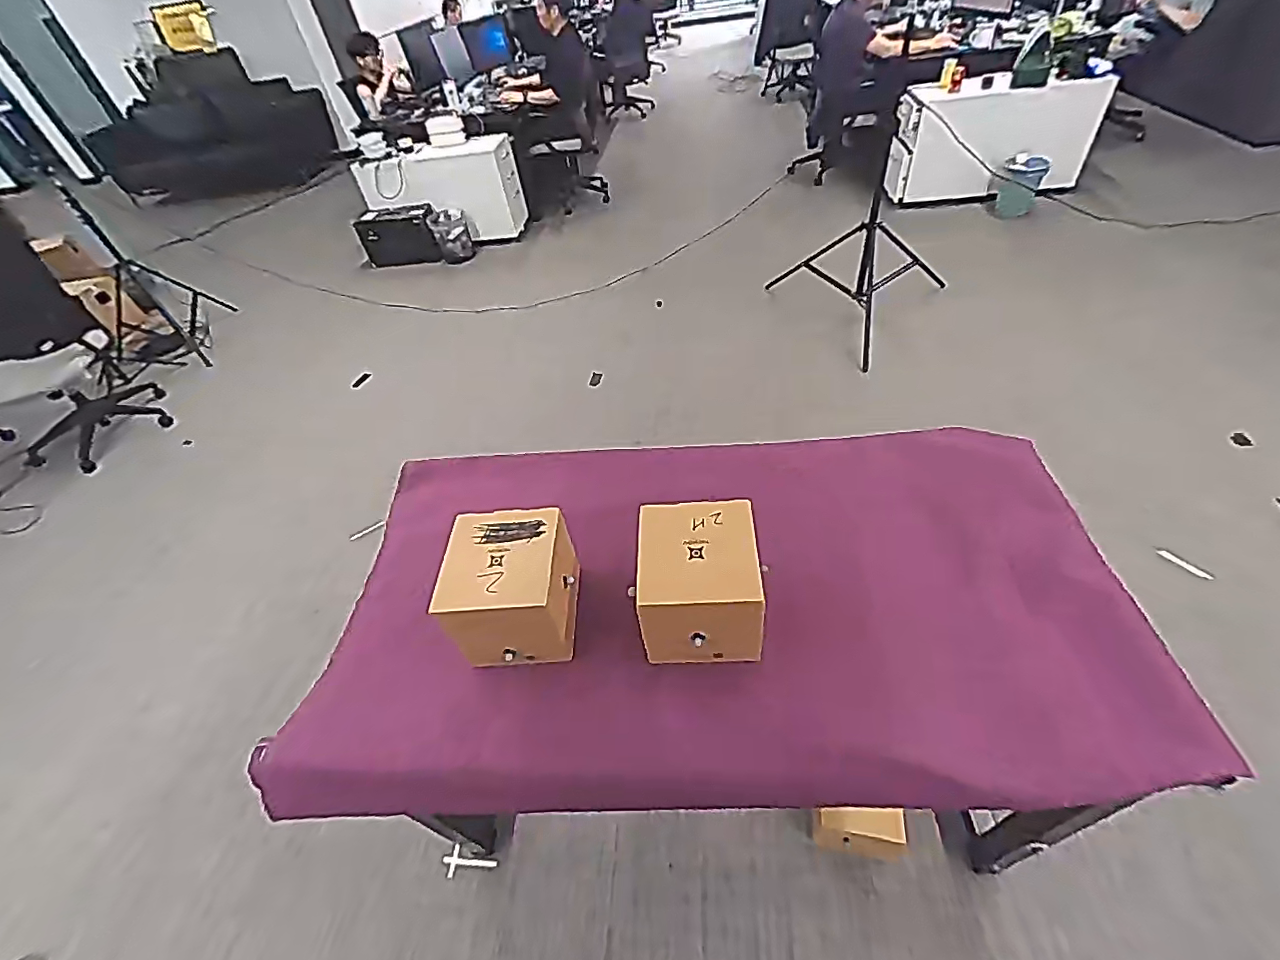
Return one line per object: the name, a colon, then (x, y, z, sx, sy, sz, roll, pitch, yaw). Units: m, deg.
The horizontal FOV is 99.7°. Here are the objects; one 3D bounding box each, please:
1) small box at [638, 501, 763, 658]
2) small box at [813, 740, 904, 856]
small box: (0.091, 0.153, 0.809, 0.168, 0.176, 0.179, -3, 45, 6)
small box: (0.484, 0.719, 1.219, 0.168, 0.176, 0.179, 4, 46, 14)
